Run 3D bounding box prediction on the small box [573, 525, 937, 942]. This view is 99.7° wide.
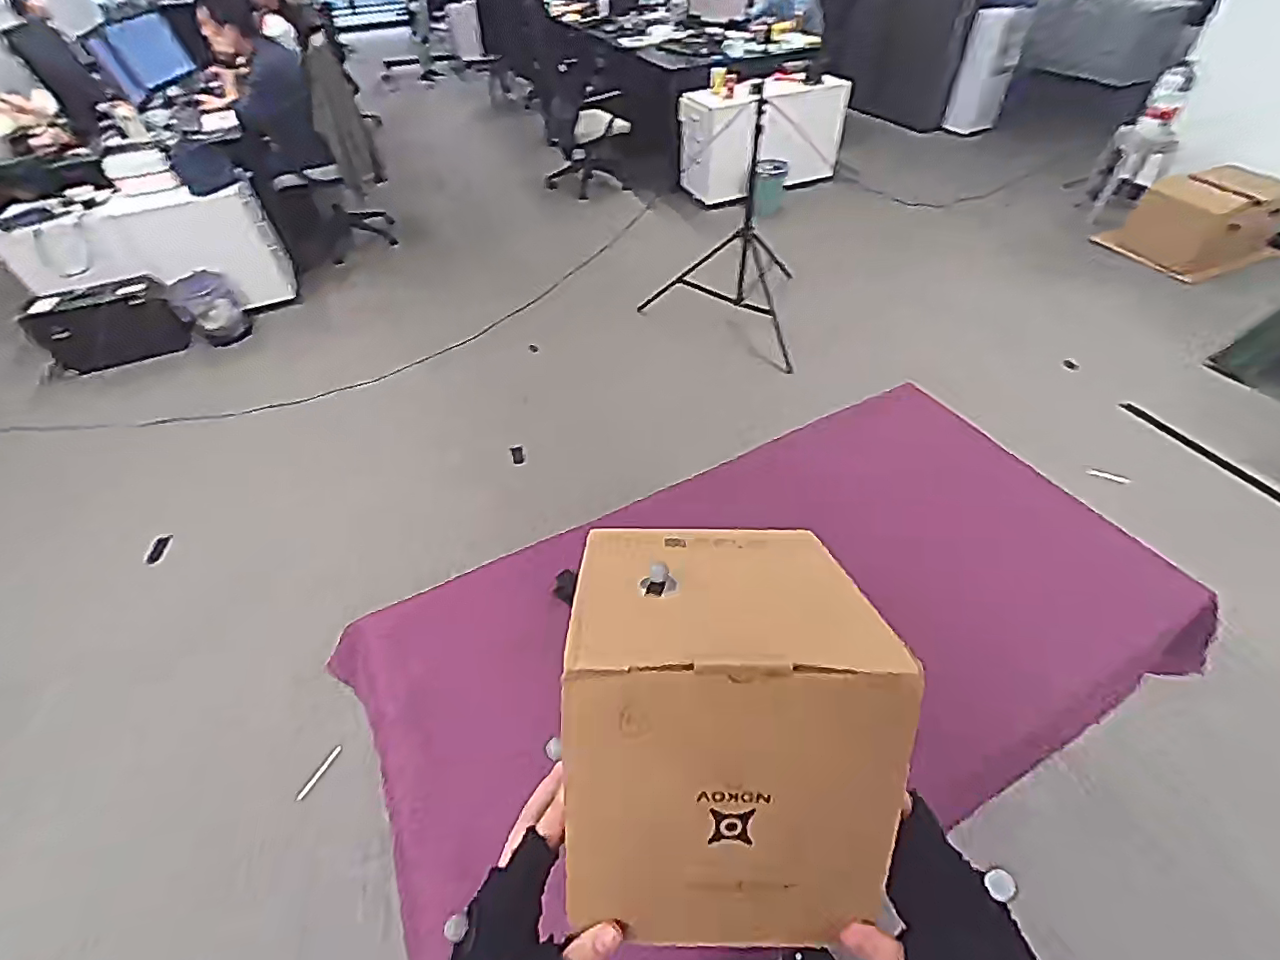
[{"bbox_3d":[0.049,0.137,0.338,0.168,0.179,0.176,1,18,0],"label":"small box"}]
